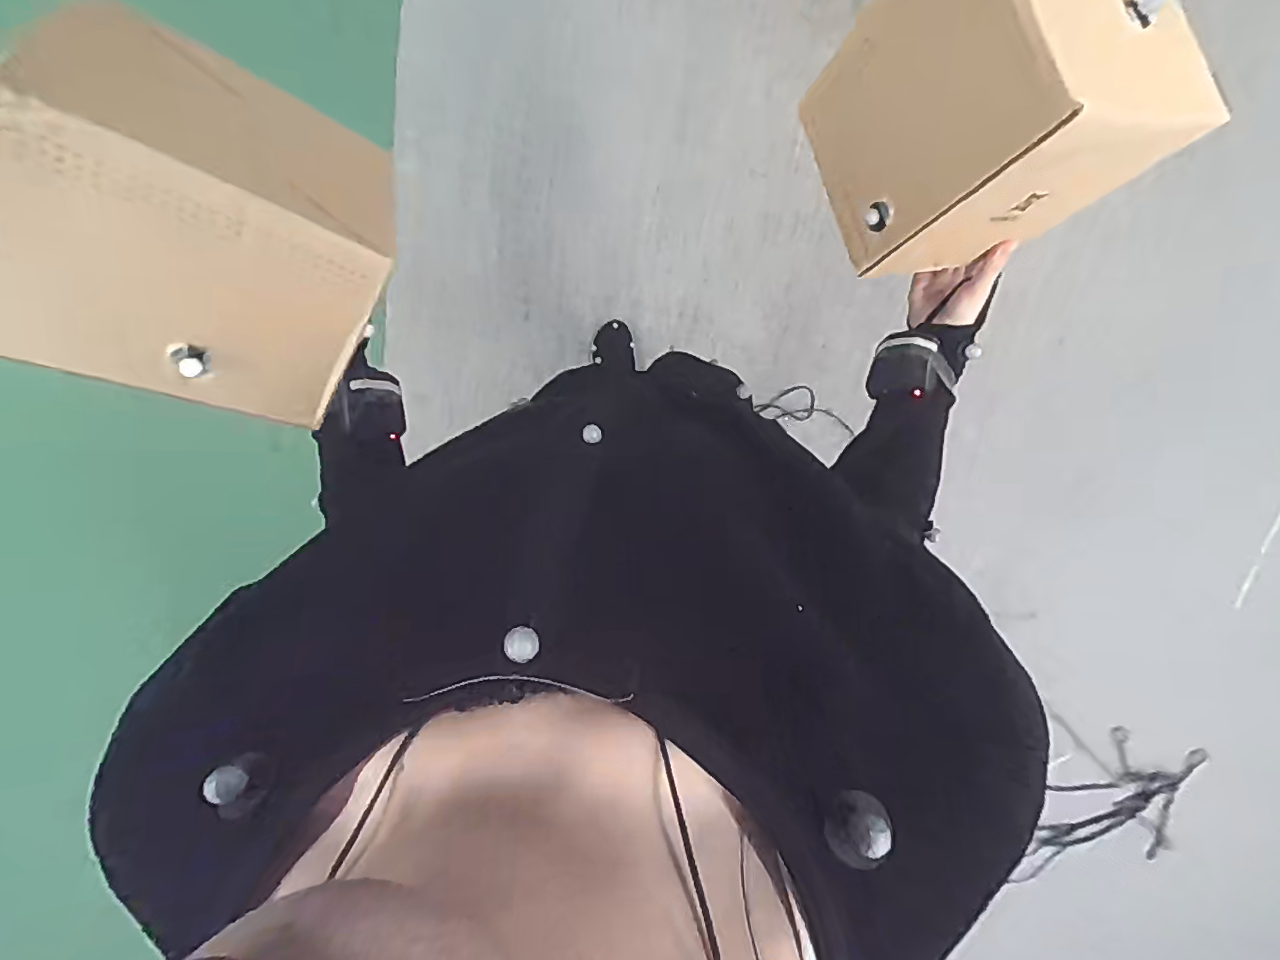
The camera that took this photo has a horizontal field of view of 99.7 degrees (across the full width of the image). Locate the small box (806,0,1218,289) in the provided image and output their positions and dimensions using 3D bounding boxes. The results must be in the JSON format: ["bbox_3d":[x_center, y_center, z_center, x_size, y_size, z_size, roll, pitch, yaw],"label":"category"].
[{"bbox_3d":[0.254,-0.272,0.408,0.168,0.179,0.176,-13,84,-21],"label":"small box"}]
